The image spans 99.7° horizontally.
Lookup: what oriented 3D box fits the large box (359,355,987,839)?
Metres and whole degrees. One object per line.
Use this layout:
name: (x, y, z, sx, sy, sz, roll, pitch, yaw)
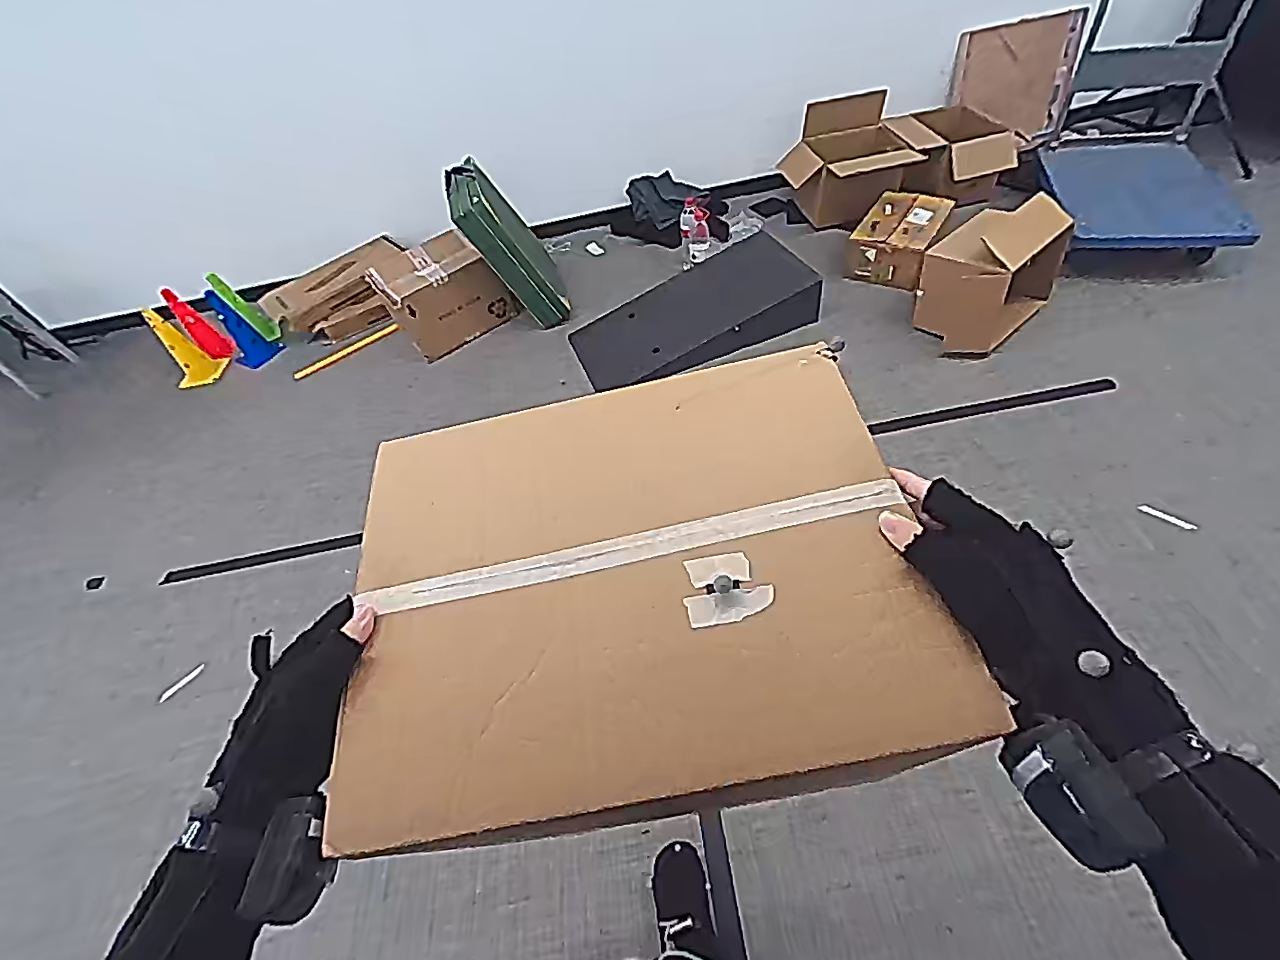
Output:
large box: (0.014, 0.133, 0.534, 0.408, 0.320, 0.320, -12, 57, 2)
